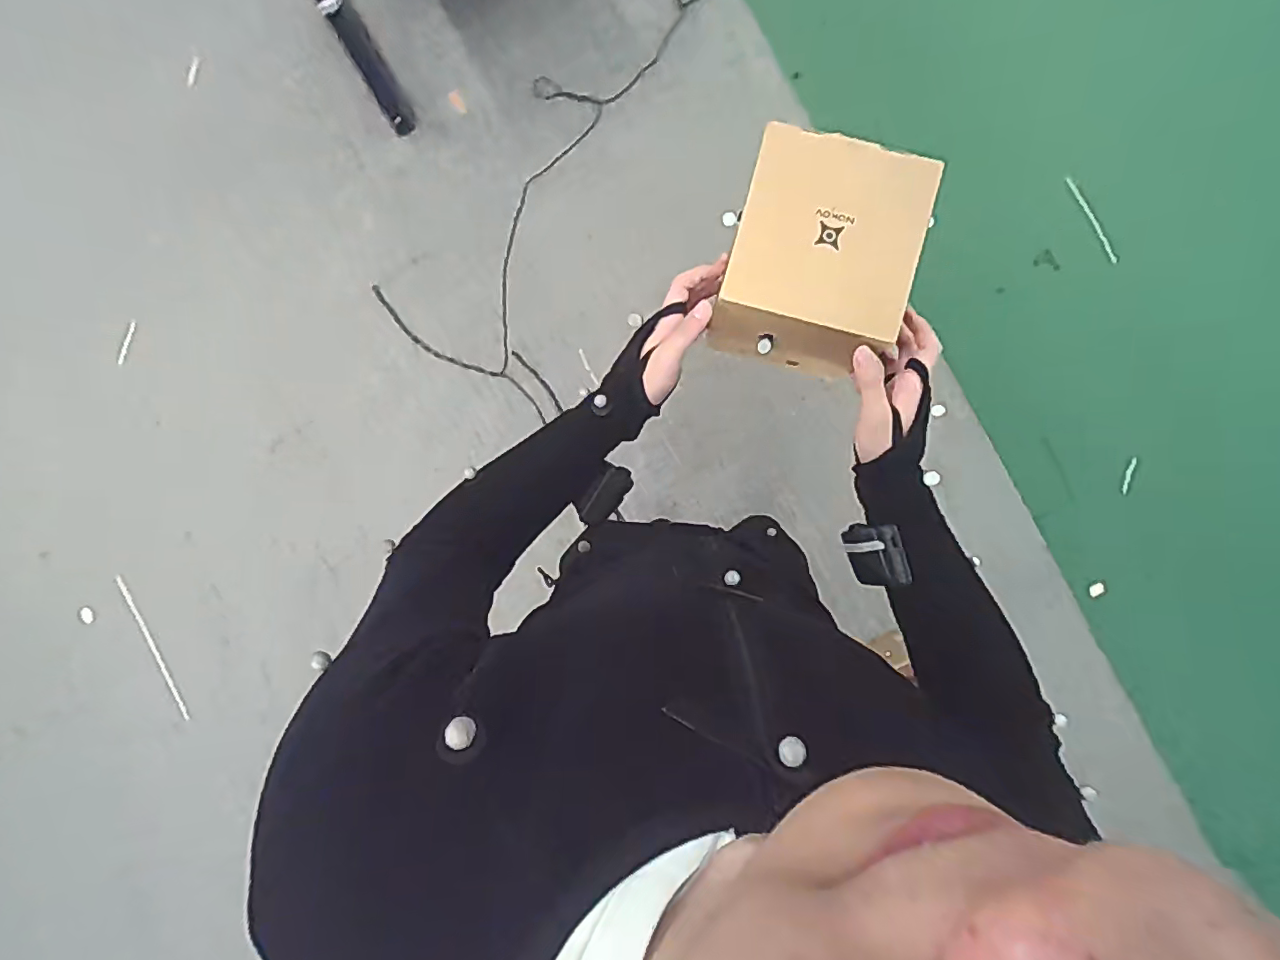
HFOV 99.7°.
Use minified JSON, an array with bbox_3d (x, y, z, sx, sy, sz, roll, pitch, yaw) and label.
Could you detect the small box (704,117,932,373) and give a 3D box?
[{"bbox_3d":[0.167,-0.227,0.568,0.168,0.176,0.179,15,88,3],"label":"small box"}]
